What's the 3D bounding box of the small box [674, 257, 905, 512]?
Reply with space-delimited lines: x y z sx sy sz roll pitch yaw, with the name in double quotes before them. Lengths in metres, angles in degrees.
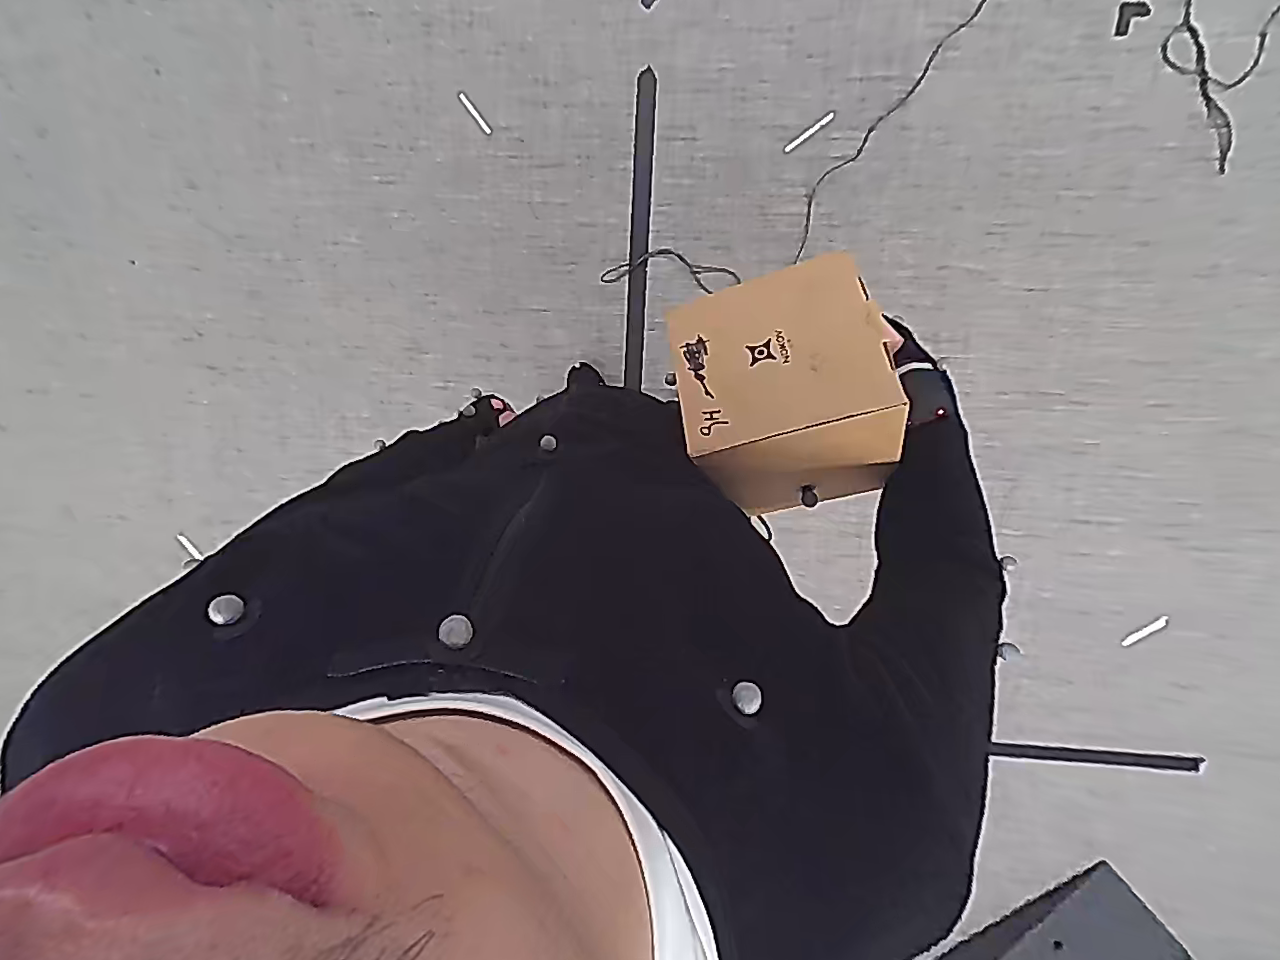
"small box" 0.148 -0.082 0.550 0.179 0.176 0.168 -14 62 16
